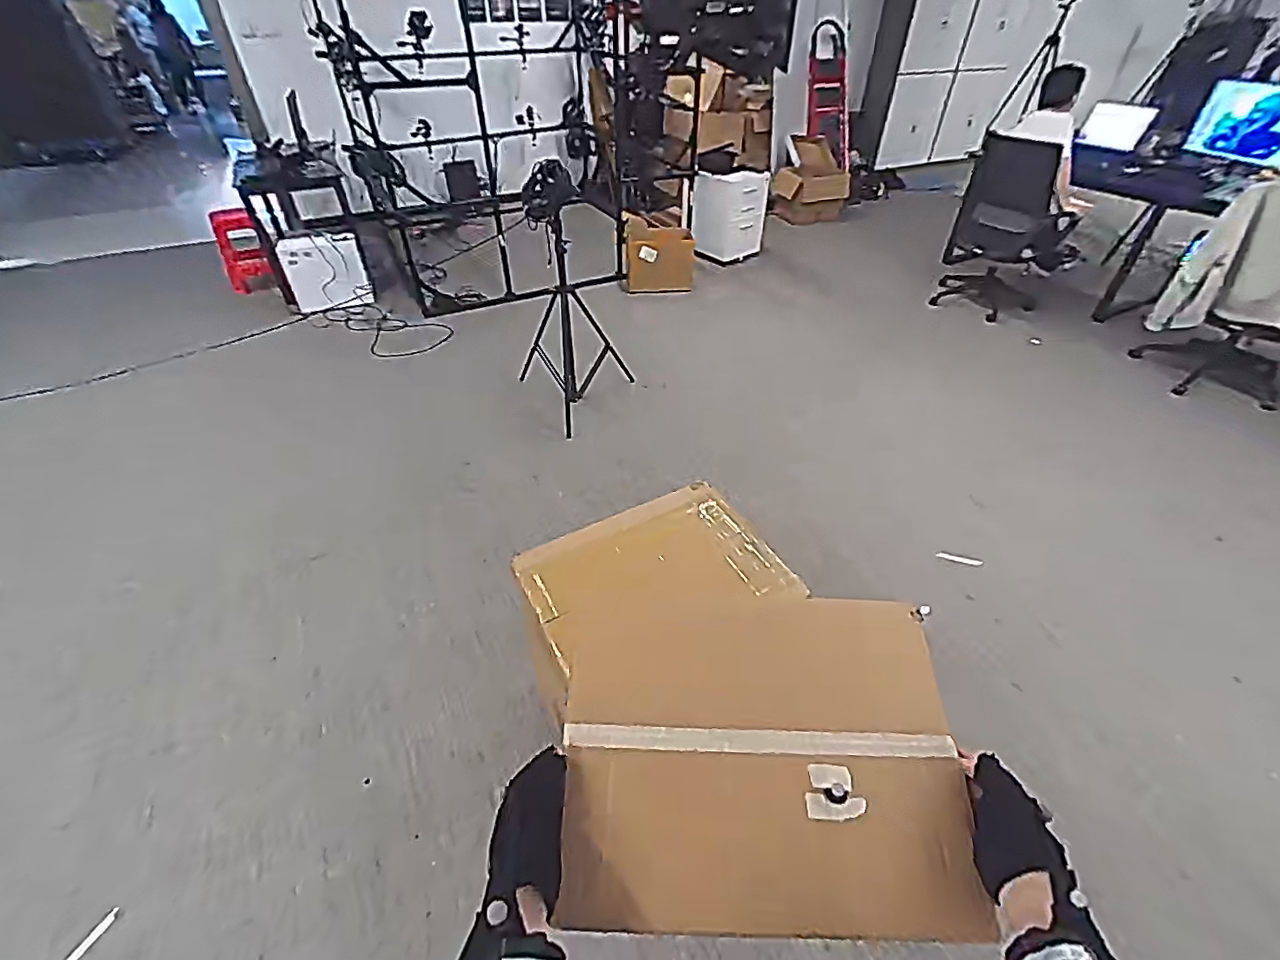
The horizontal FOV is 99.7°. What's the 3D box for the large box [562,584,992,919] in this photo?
[{"bbox_3d":[0.117,0.338,0.688,0.408,0.320,0.320,2,58,-2],"label":"large box"}]
